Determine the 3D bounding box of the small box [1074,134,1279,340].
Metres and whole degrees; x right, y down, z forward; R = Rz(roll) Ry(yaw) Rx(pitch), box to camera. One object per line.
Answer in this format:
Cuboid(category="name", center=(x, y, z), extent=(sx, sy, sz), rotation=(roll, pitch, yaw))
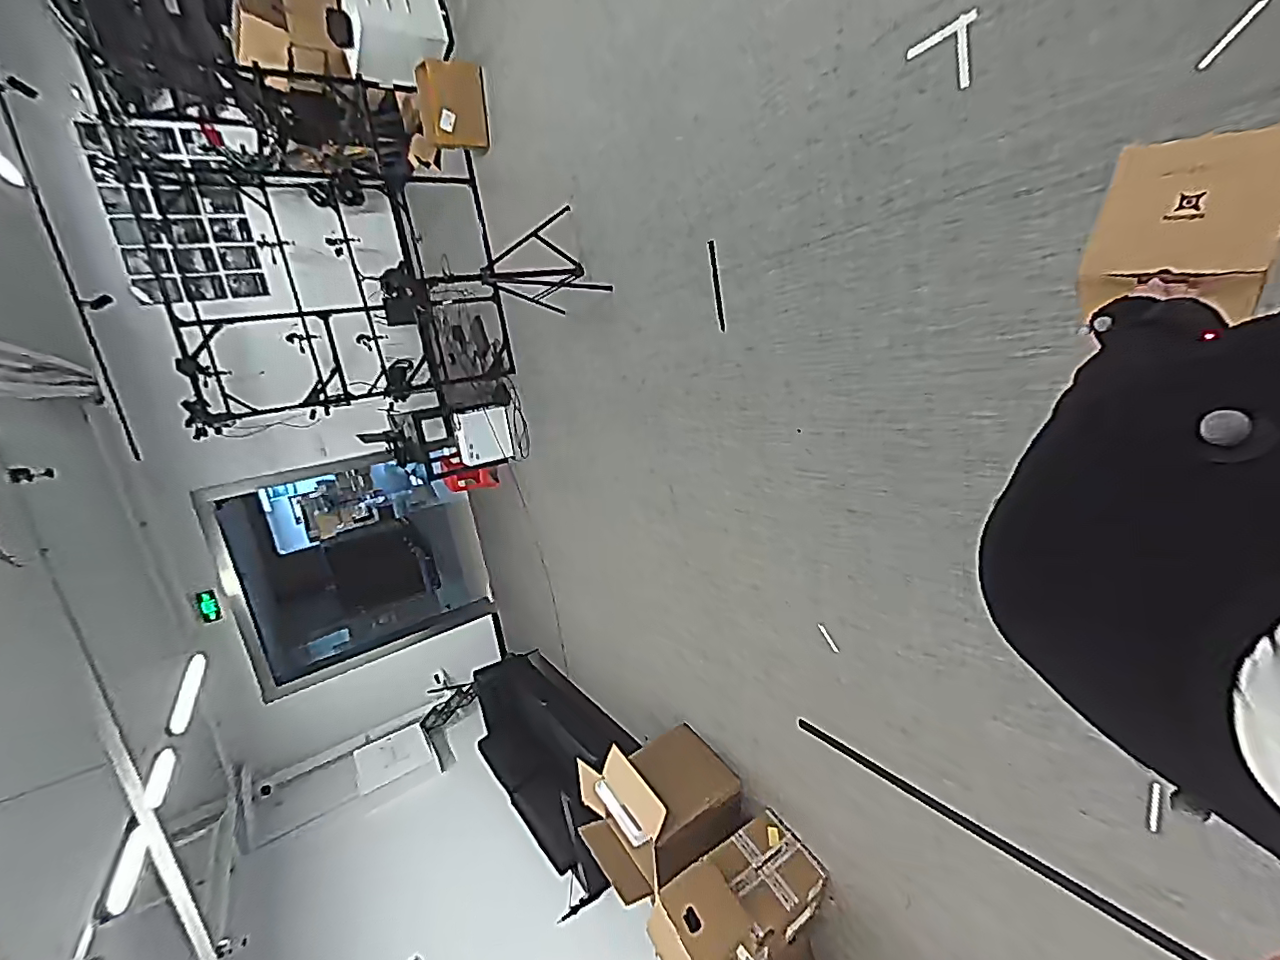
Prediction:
Cuboid(category="small box", center=(0.690, -0.296, 0.693), extent=(0.168, 0.176, 0.179), rotation=(20, 88, 43))
